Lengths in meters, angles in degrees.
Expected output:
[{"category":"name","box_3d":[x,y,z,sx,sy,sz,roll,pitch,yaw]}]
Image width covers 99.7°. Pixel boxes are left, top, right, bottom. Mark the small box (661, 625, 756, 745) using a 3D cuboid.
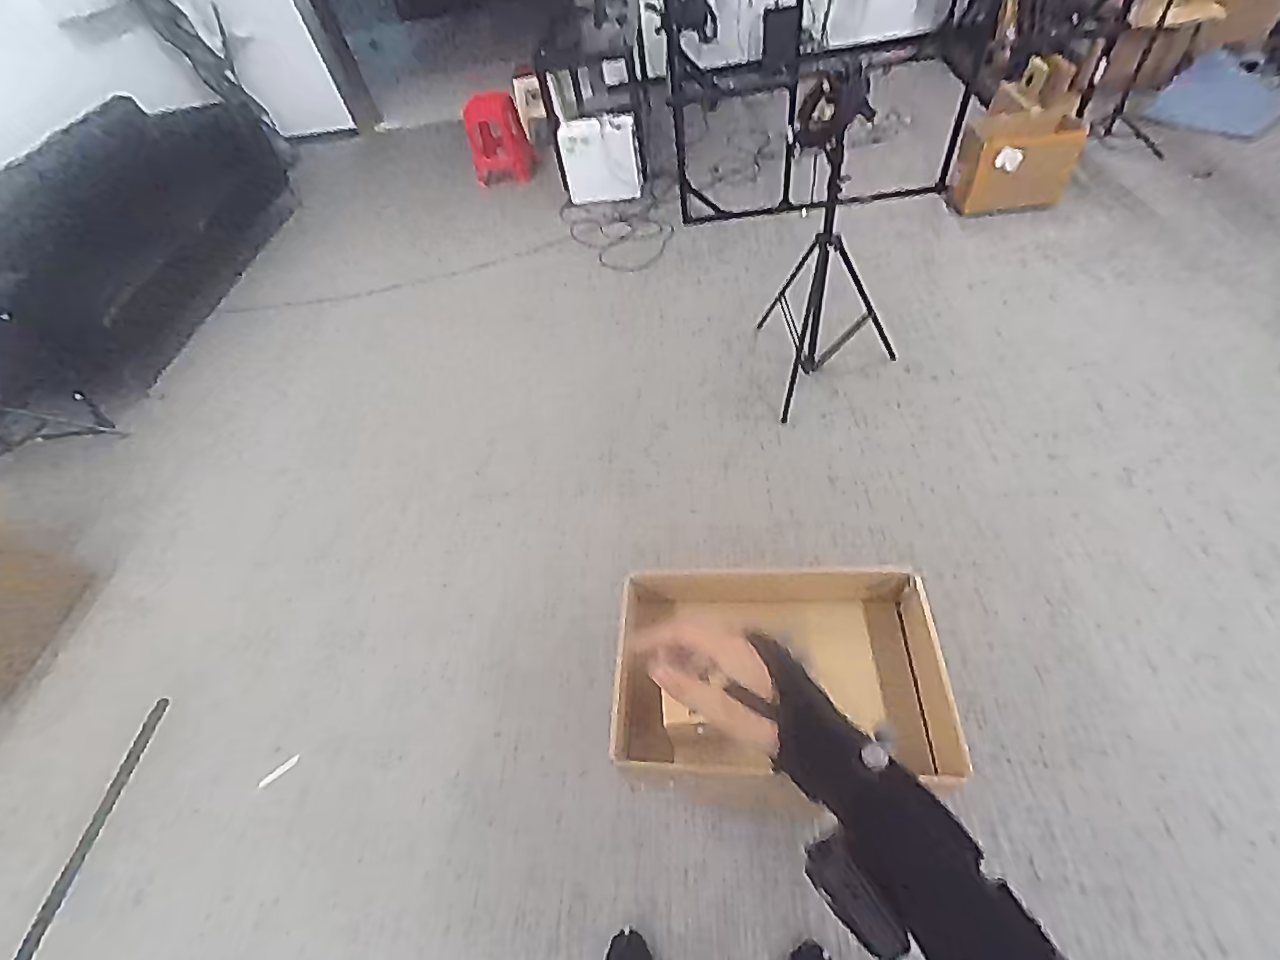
[{"category":"small box","box_3d":[0.134,0.411,1.079,0.168,0.176,0.179,-7,51,5]}]
